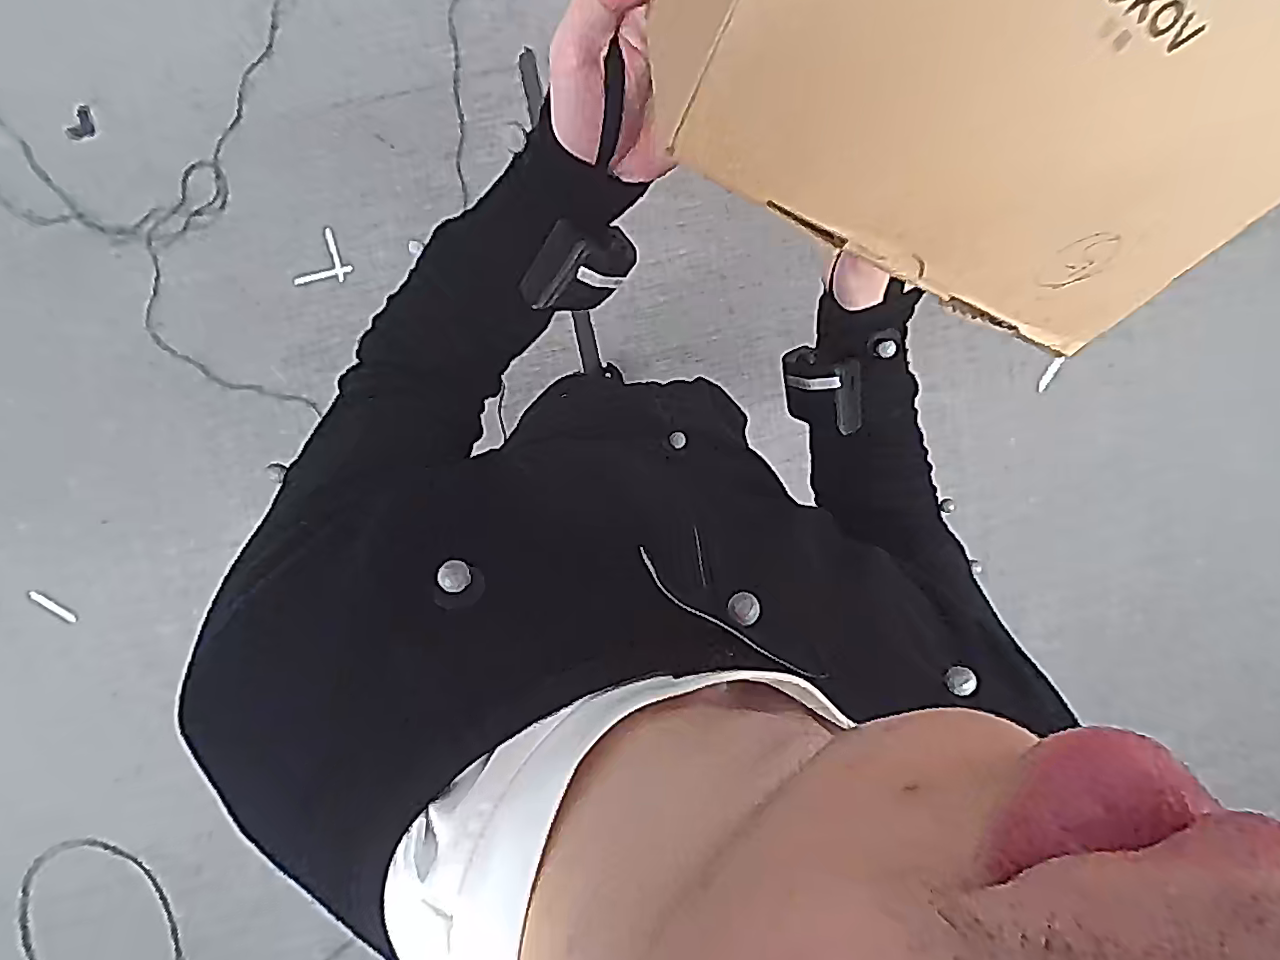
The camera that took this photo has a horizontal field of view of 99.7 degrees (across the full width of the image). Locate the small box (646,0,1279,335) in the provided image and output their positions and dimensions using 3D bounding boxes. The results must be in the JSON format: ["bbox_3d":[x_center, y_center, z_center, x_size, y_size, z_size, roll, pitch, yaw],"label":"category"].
[{"bbox_3d":[0.109,-0.186,0.171,0.168,0.176,0.179,14,138,-20],"label":"small box"}]
